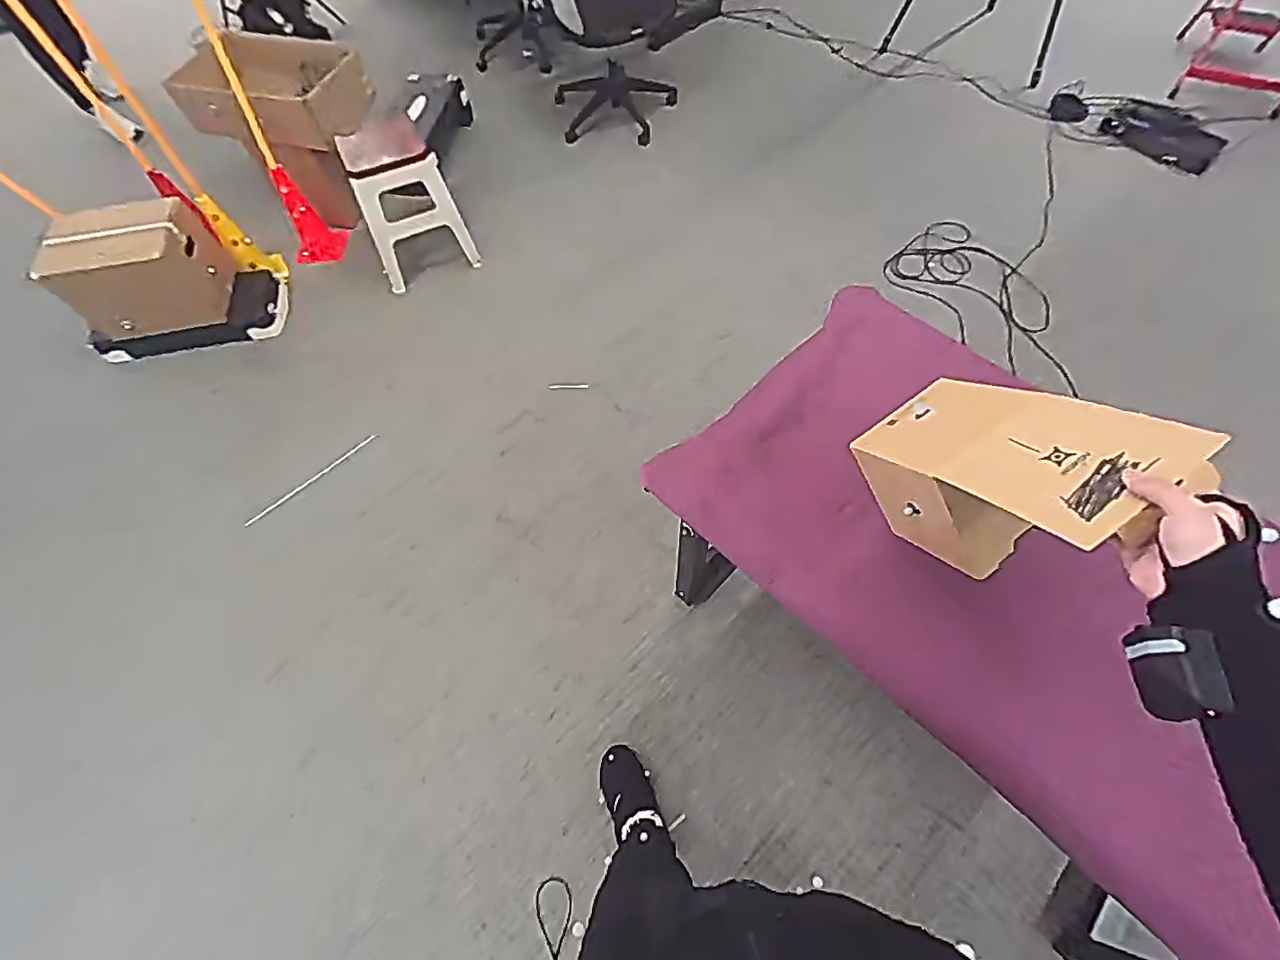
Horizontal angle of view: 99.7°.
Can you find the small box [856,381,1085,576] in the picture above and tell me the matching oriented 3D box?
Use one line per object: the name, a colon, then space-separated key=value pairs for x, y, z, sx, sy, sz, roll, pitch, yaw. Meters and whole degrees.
small box: x=0.428 y=-0.013 z=0.720 sx=0.168 sy=0.179 sz=0.176 roll=-36 pitch=21 yaw=-1
